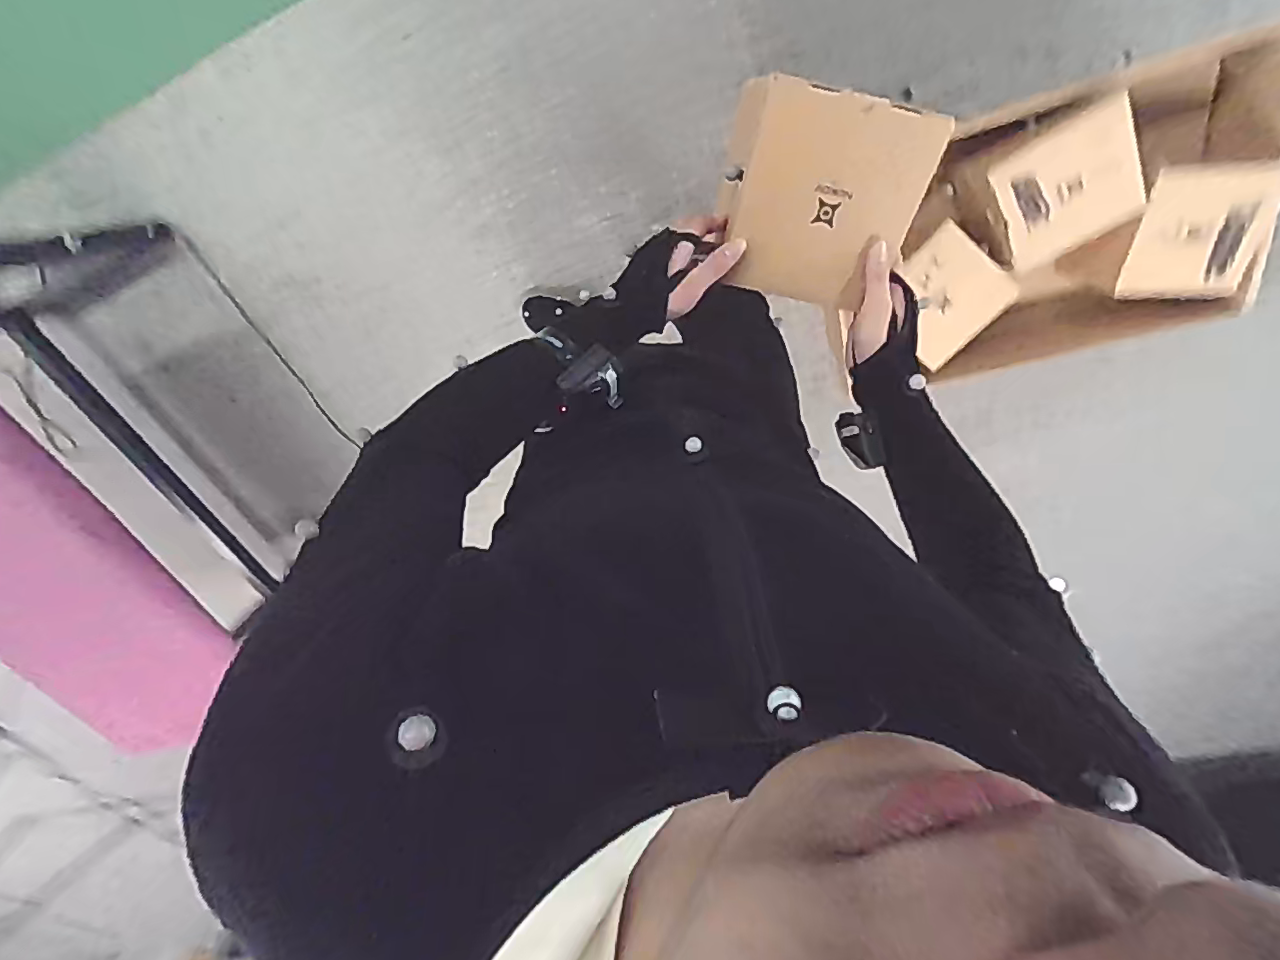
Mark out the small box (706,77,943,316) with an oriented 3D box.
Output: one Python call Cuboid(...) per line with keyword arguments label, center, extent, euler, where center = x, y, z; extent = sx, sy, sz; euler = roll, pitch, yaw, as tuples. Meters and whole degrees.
Cuboid(label="small box", center=(0.169, -0.296, 0.568), extent=(0.168, 0.176, 0.179), euler=(9, 124, -5))
